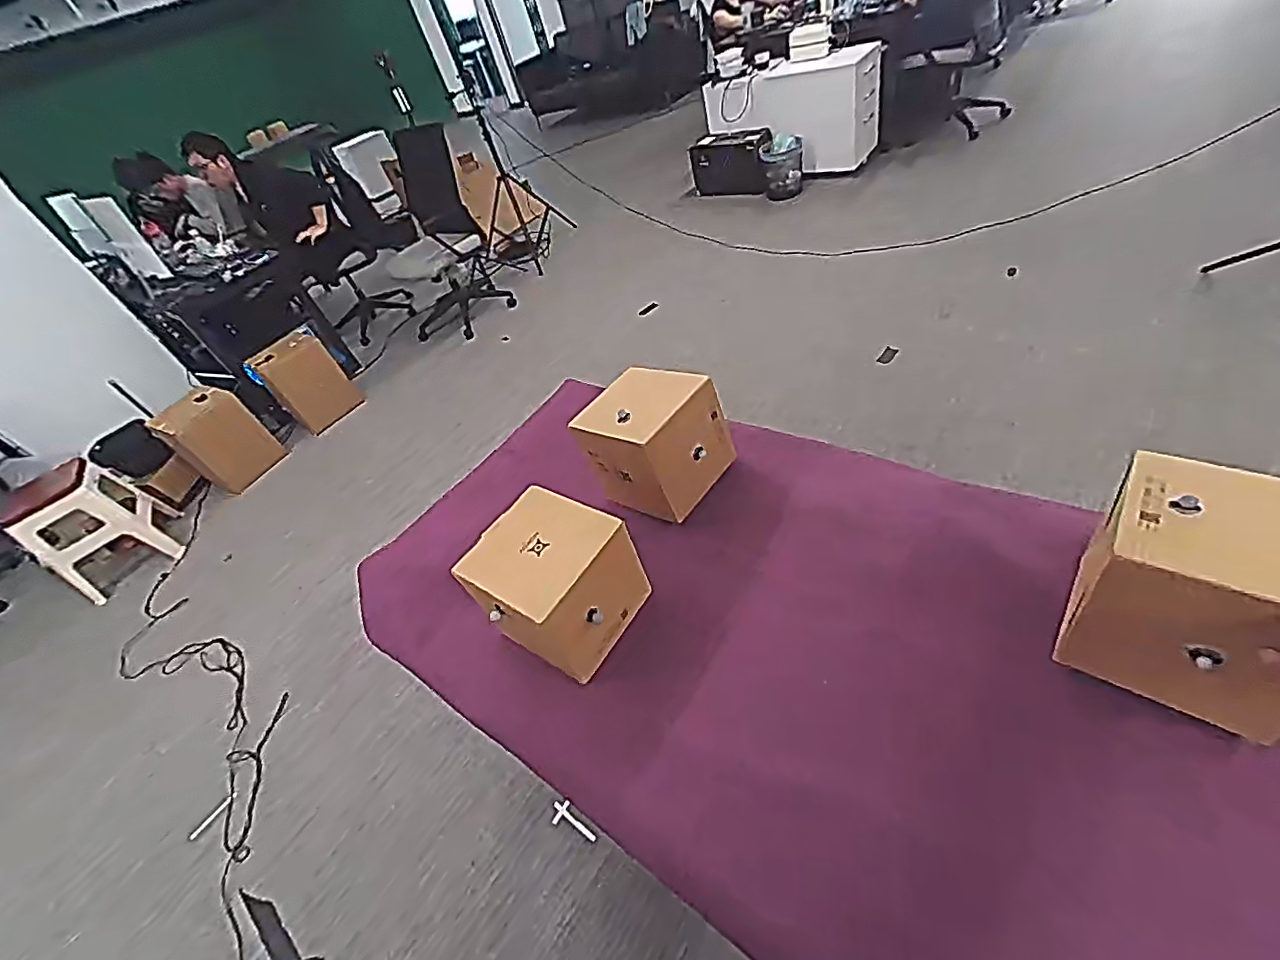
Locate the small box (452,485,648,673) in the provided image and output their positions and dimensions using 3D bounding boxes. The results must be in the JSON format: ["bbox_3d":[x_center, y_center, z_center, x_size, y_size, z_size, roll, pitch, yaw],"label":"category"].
[{"bbox_3d":[-0.112,0.139,0.746,0.179,0.176,0.168,18,55,34],"label":"small box"}]

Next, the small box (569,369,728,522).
[{"bbox_3d":[0.024,-0.064,0.876,0.179,0.168,0.176,18,54,42],"label":"small box"}]
